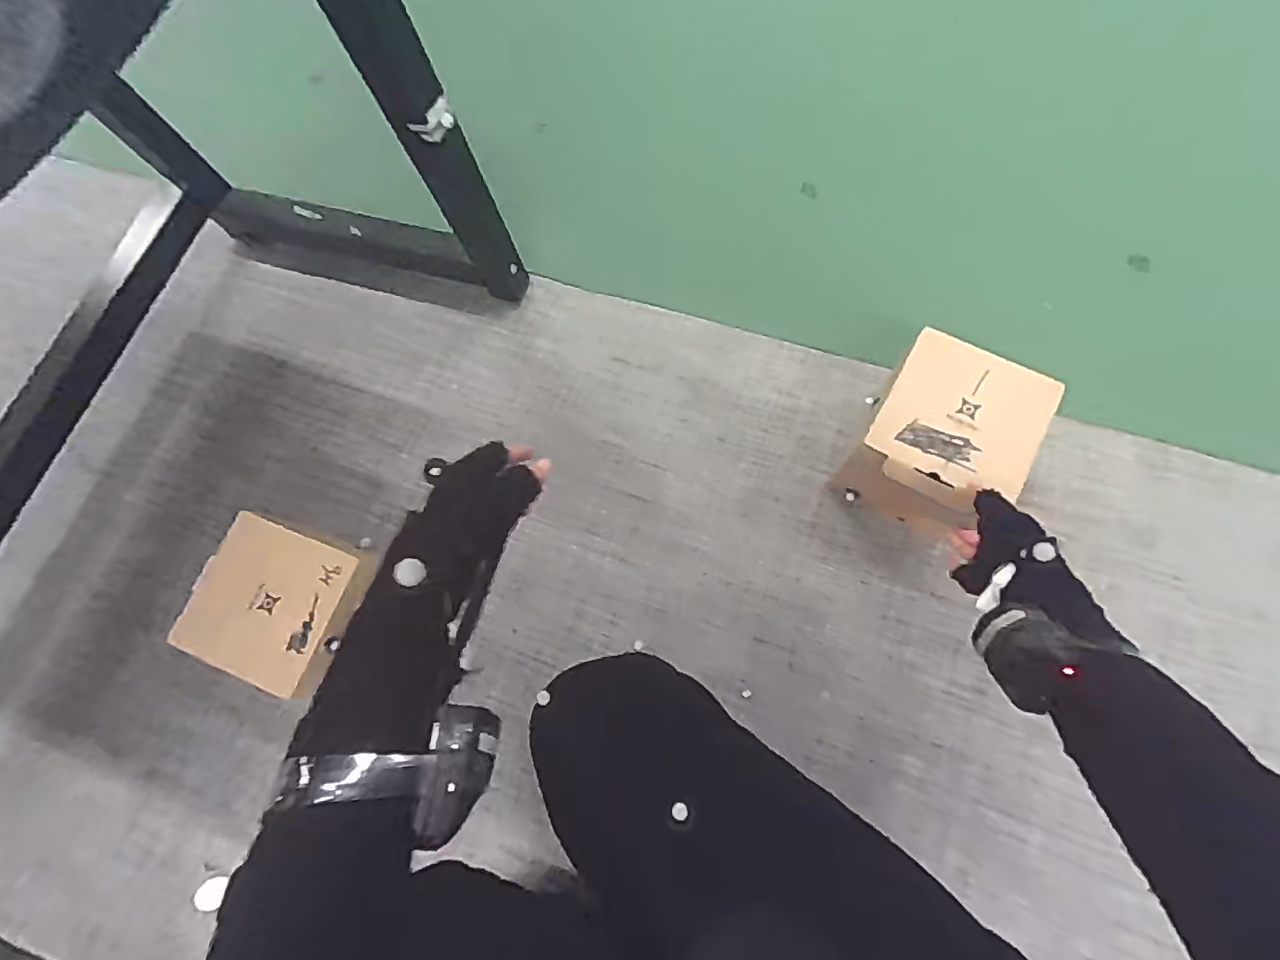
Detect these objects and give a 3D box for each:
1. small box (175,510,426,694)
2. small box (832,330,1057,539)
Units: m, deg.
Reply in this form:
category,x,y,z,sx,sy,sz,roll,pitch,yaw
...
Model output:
category,x,y,z,sx,sy,sz,roll,pitch,yaw
small box,-0.420,0.158,0.700,0.179,0.176,0.168,19,77,12
small box,0.362,-0.046,0.681,0.168,0.176,0.179,29,77,13
